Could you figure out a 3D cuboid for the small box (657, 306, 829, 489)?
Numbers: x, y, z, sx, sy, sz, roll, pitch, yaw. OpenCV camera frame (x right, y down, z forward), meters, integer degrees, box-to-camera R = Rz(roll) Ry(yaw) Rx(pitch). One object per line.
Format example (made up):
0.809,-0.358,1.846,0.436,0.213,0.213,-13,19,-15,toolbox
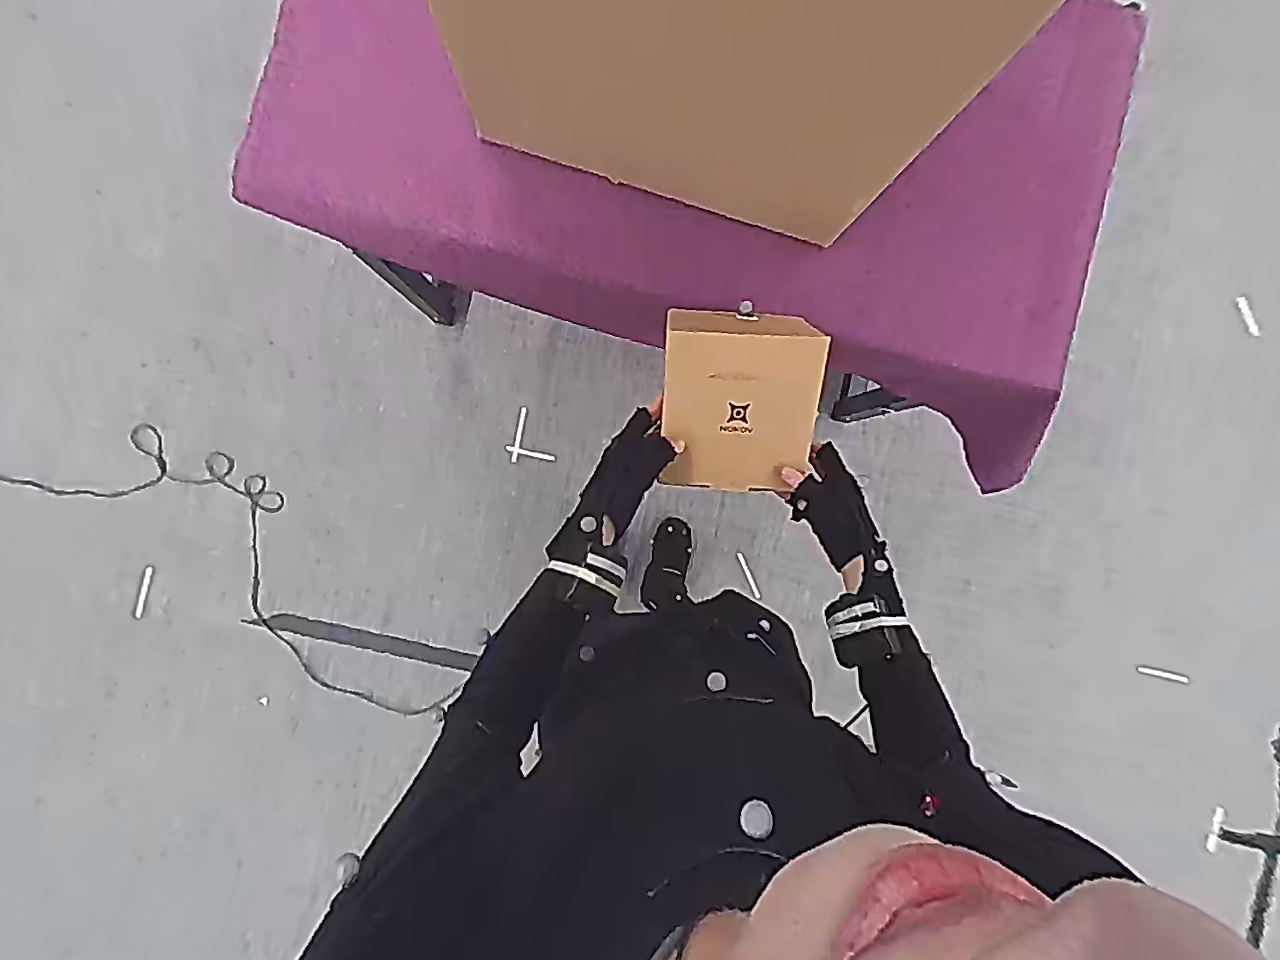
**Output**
0.108,-0.105,0.645,0.168,0.176,0.179,3,113,2,small box
